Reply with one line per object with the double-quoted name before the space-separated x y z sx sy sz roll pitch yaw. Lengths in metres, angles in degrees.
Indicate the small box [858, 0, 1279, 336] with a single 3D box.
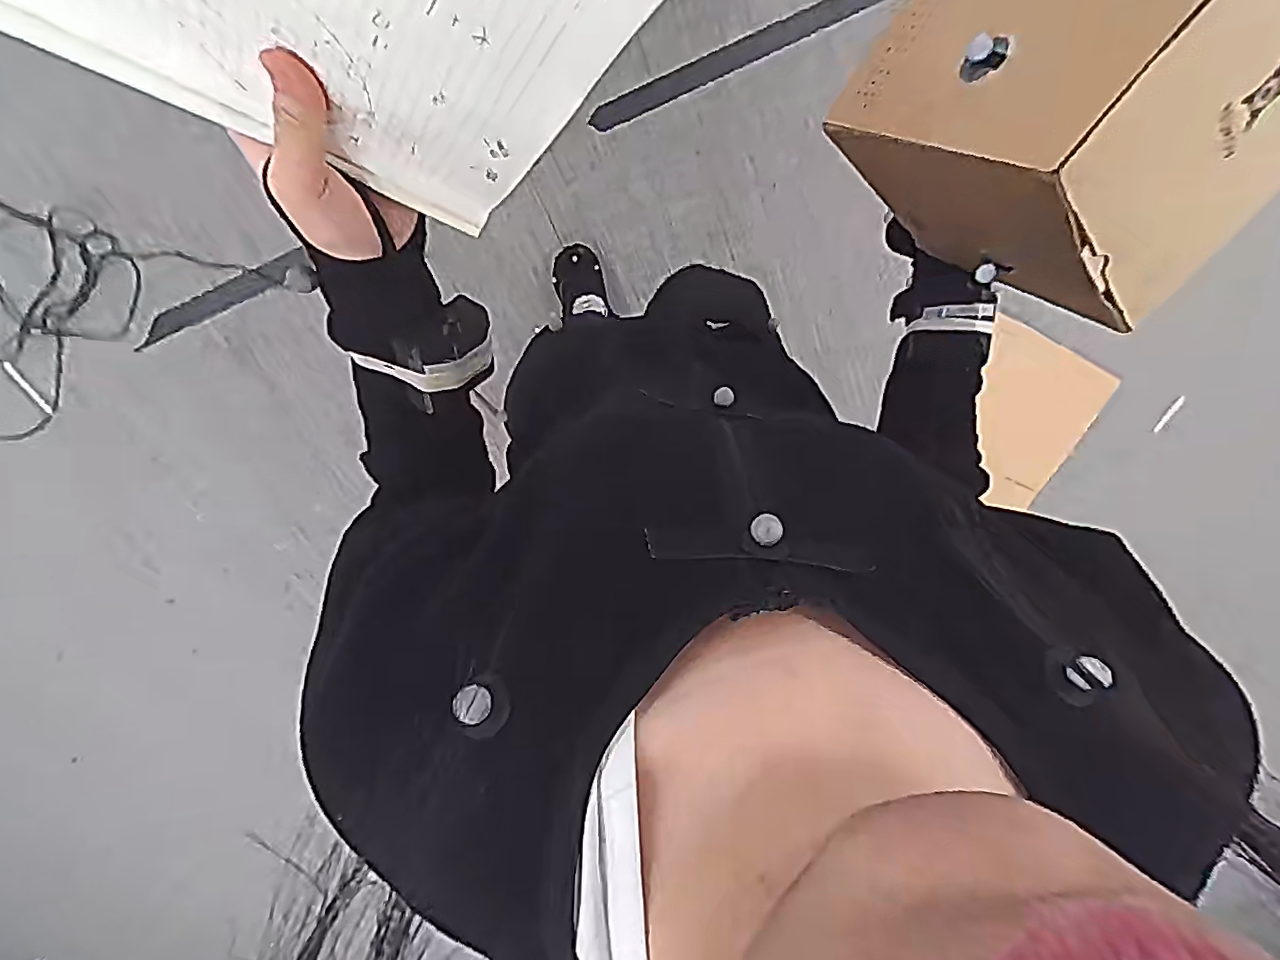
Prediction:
"small box" 0.255 -0.219 0.304 0.168 0.176 0.179 19 116 -38
